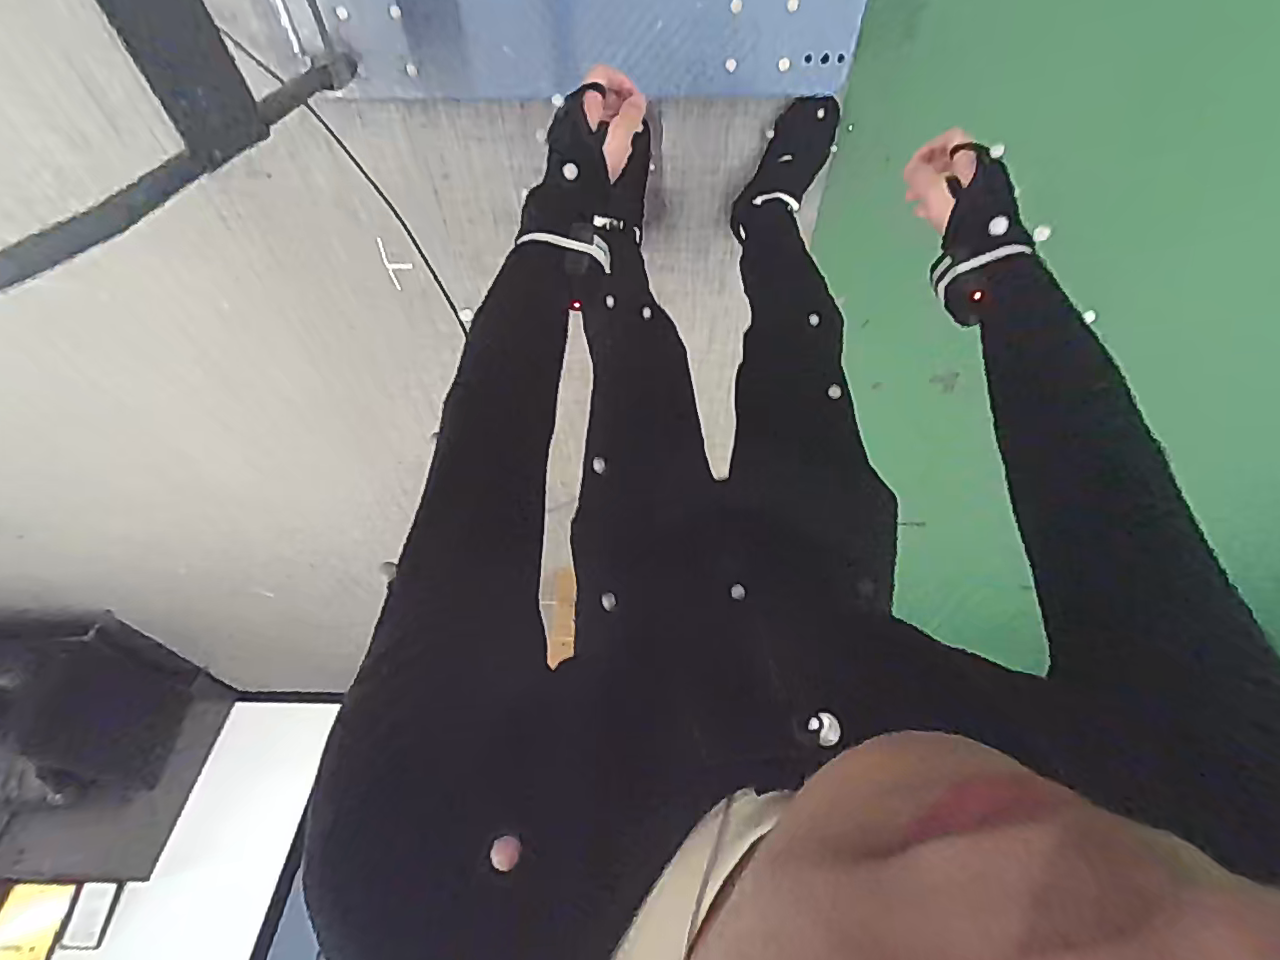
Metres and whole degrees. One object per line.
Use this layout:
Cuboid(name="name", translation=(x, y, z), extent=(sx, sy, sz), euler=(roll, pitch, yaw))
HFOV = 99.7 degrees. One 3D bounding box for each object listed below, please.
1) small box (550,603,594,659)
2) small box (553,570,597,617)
Cuboid(name="small box", translation=(-0.282, 0.632, 2.266), extent=(0.168, 0.176, 0.179), euler=(4, 139, -1))
Cuboid(name="small box", translation=(-0.283, 0.509, 2.374), extent=(0.179, 0.176, 0.168), euler=(4, 140, -2))
